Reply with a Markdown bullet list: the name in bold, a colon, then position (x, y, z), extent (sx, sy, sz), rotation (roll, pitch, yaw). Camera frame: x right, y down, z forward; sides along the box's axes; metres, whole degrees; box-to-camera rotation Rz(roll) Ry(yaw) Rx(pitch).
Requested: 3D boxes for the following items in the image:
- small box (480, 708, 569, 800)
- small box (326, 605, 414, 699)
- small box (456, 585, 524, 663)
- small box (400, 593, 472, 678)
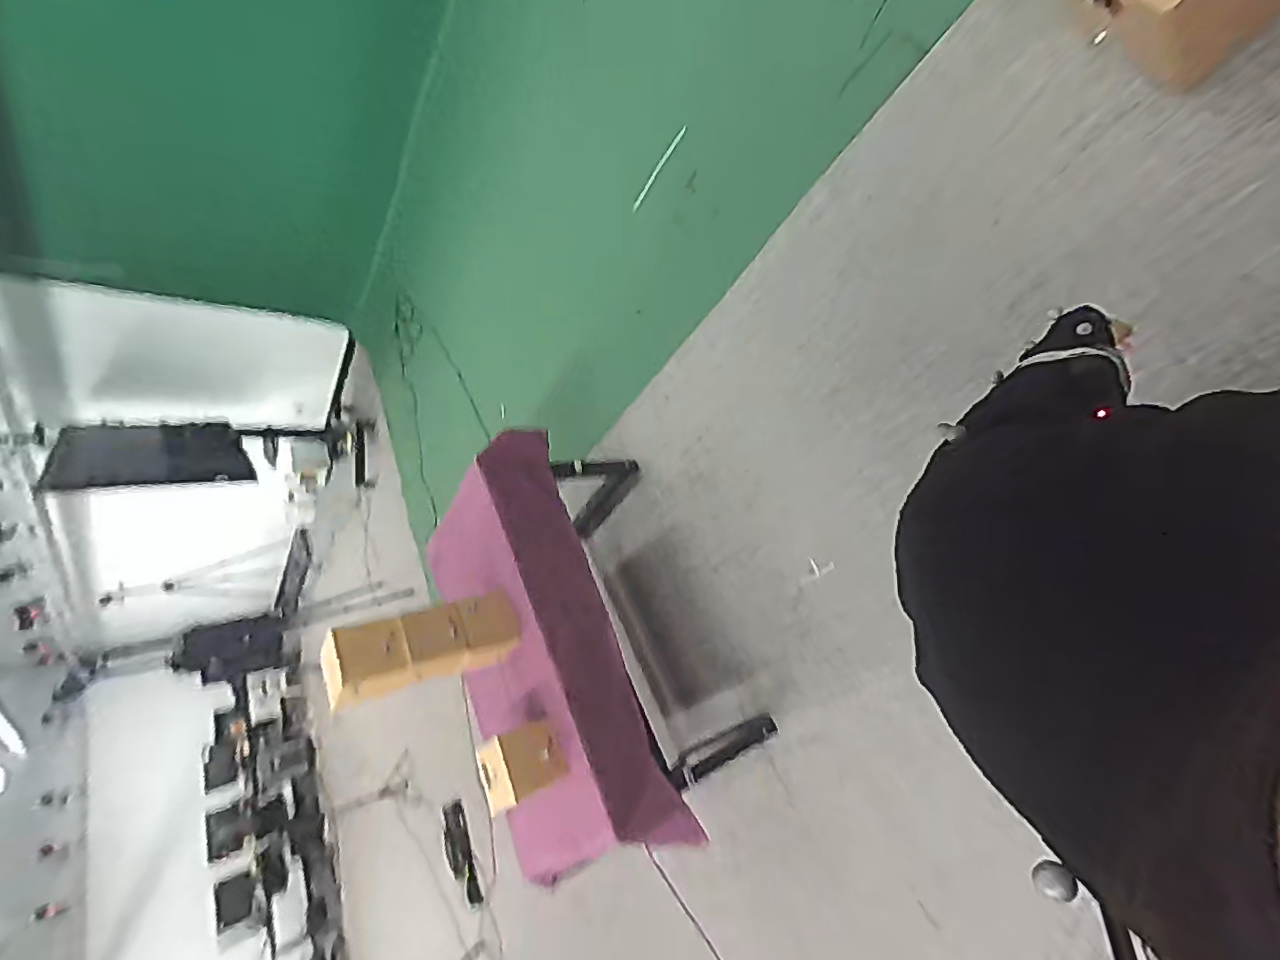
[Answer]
- **small box**: position (-0.325, 0.767, 1.522), extent (0.179, 0.176, 0.168), rotation (-46, 60, 39)
- **small box**: position (-0.733, 0.463, 1.468), extent (0.179, 0.176, 0.168), rotation (-51, 57, 36)
- **small box**: position (-0.488, 0.439, 1.681), extent (0.168, 0.176, 0.179), rotation (-48, 58, 39)
- **small box**: position (-0.610, 0.449, 1.574), extent (0.179, 0.176, 0.168), rotation (-49, 59, 38)
